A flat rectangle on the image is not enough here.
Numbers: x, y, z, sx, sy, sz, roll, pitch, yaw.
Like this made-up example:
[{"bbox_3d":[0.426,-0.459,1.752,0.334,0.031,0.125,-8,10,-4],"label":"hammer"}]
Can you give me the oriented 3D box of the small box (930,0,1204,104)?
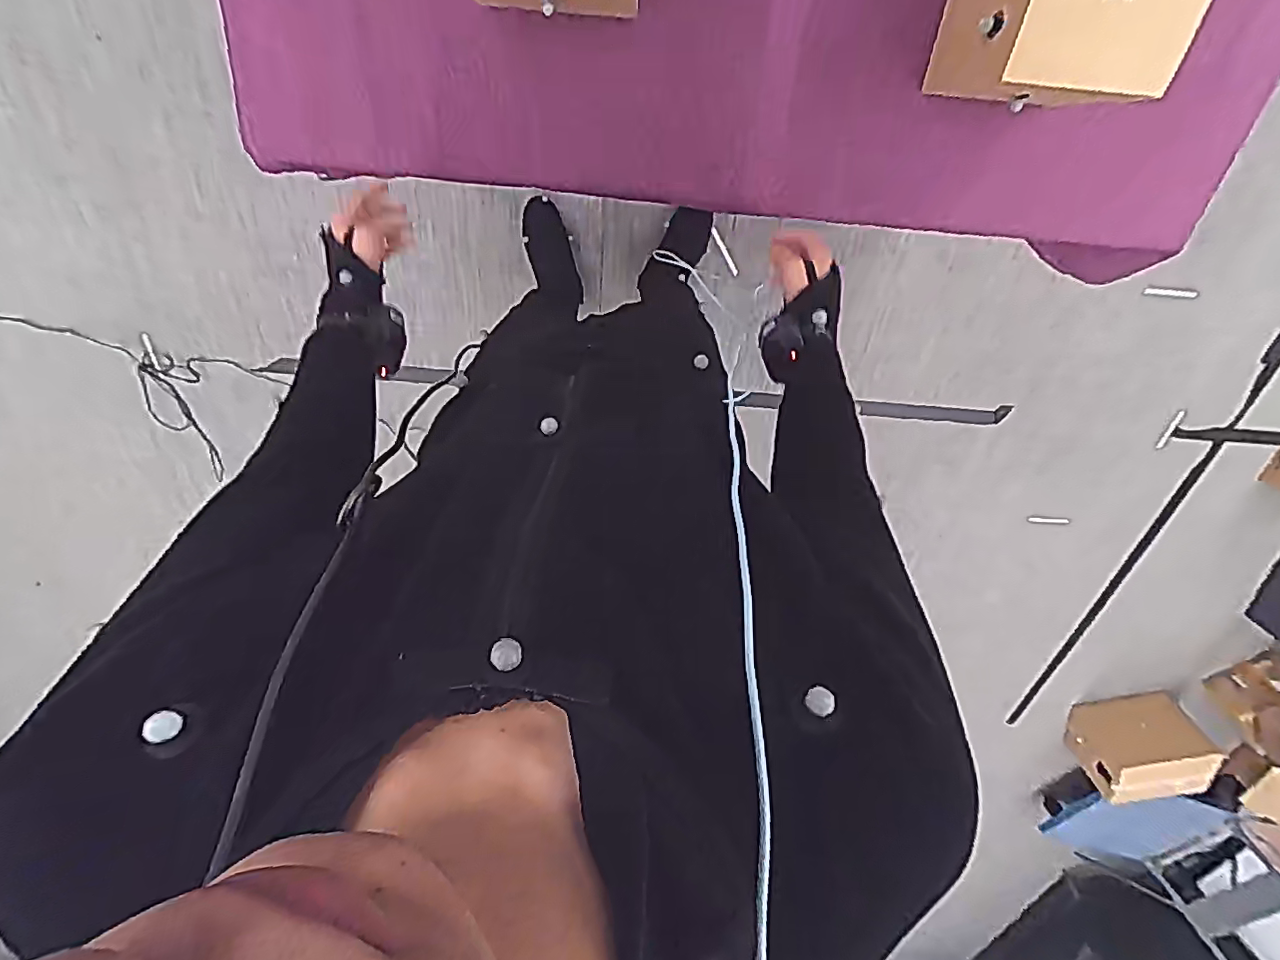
[{"bbox_3d":[0.426,-0.492,0.544,0.168,0.176,0.179,3,123,-4],"label":"small box"}]
